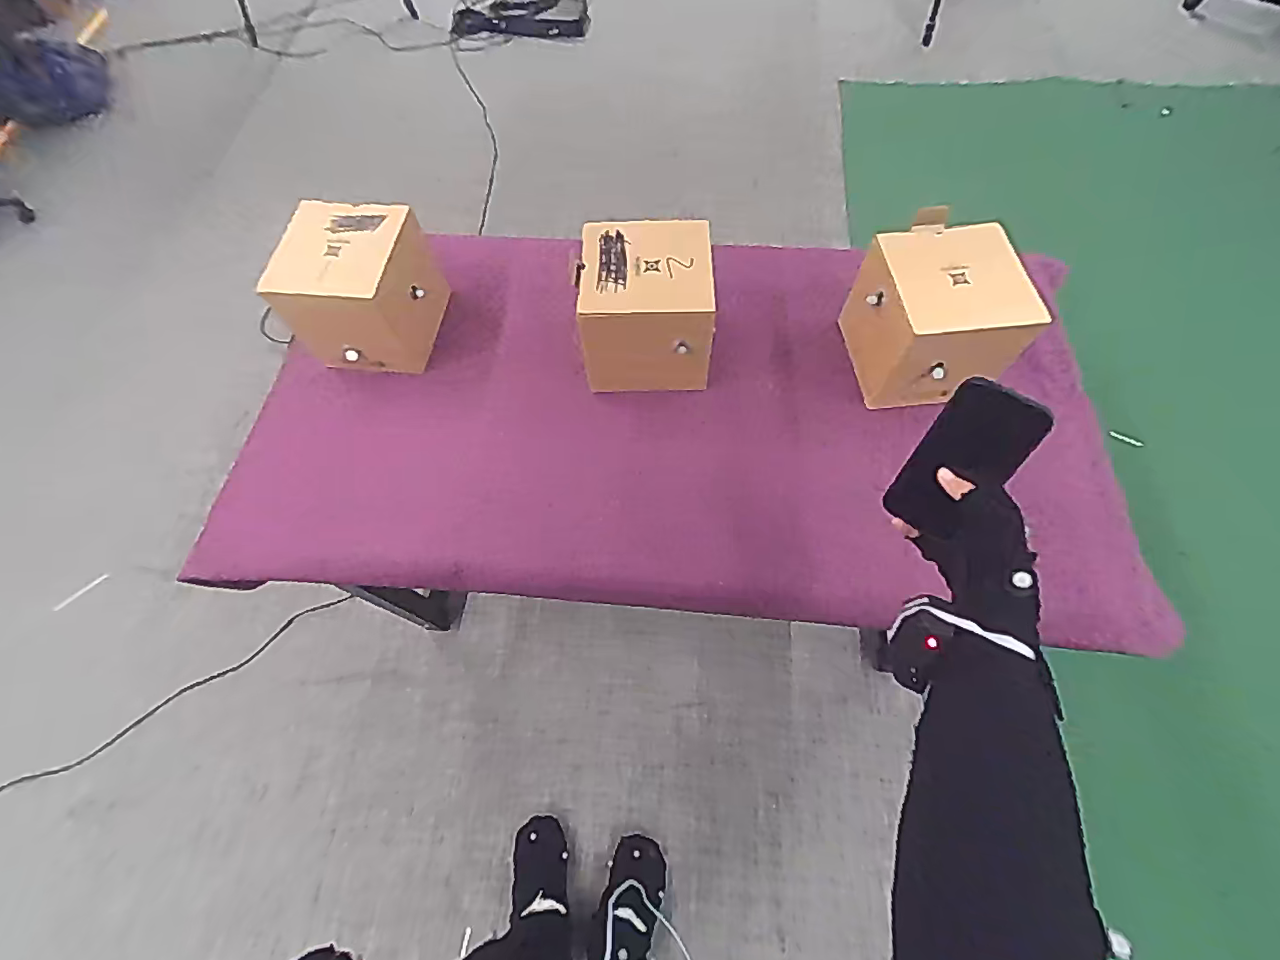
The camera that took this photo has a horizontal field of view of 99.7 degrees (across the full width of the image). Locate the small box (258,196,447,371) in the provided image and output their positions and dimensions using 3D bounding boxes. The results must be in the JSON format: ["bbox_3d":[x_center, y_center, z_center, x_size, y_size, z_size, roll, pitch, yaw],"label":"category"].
[{"bbox_3d":[-0.408,-0.288,0.807,0.168,0.176,0.179,5,66,5],"label":"small box"}]

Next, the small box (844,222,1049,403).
[{"bbox_3d":[0.401,-0.219,0.746,0.168,0.176,0.179,-5,64,0],"label":"small box"}]
